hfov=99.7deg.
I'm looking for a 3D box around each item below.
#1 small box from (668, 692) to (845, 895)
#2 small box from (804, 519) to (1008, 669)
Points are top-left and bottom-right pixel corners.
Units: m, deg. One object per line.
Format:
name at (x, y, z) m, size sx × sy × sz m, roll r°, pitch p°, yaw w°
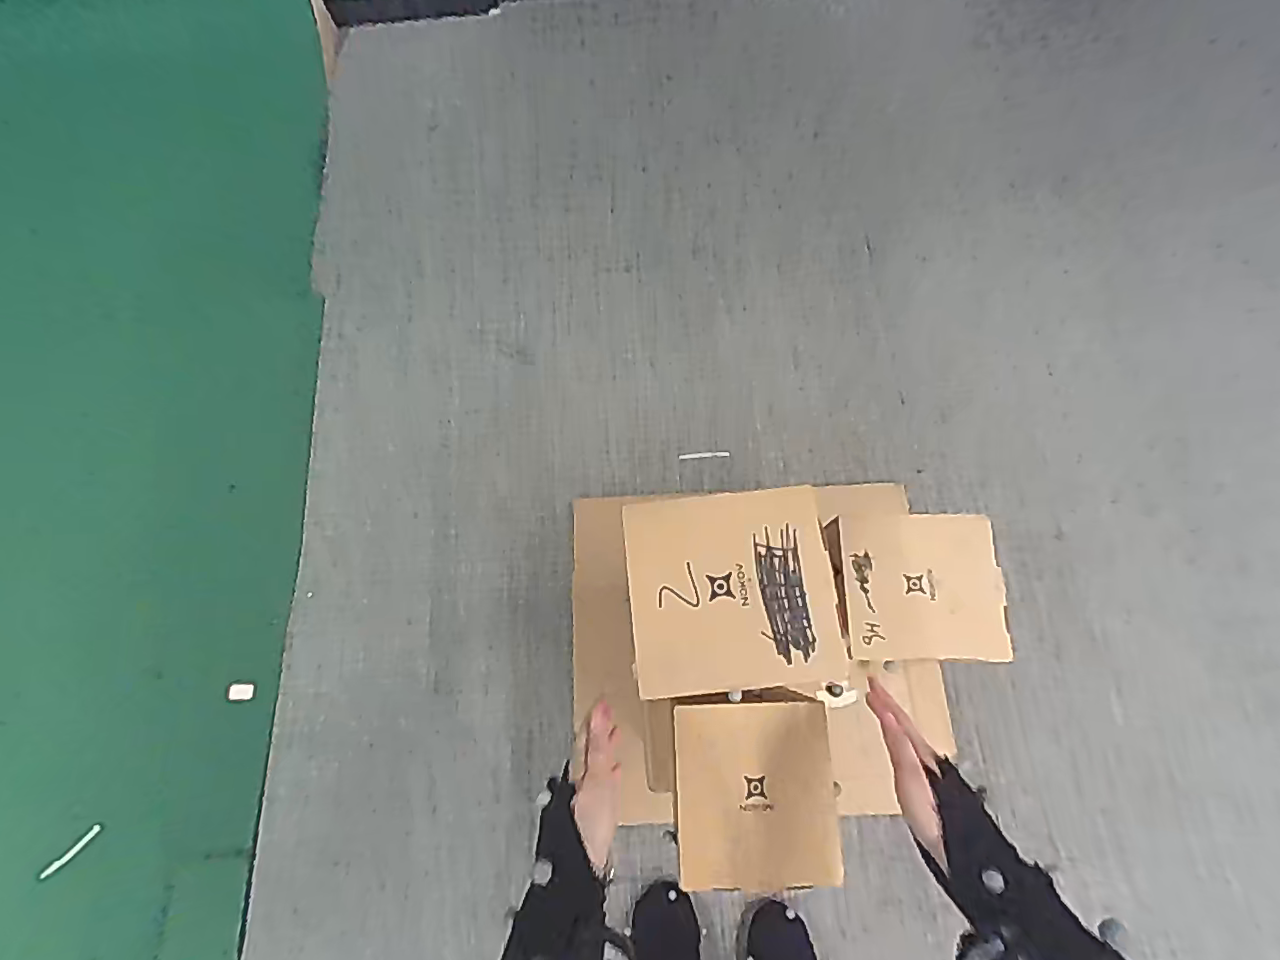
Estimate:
small box at (0.120, 0.347, 0.634) m, size 0.168 × 0.176 × 0.179 m, roll -2°, pitch 74°, yaw 0°
small box at (0.321, 0.148, 0.689) m, size 0.179 × 0.176 × 0.168 m, roll 0°, pitch 73°, yaw 4°
